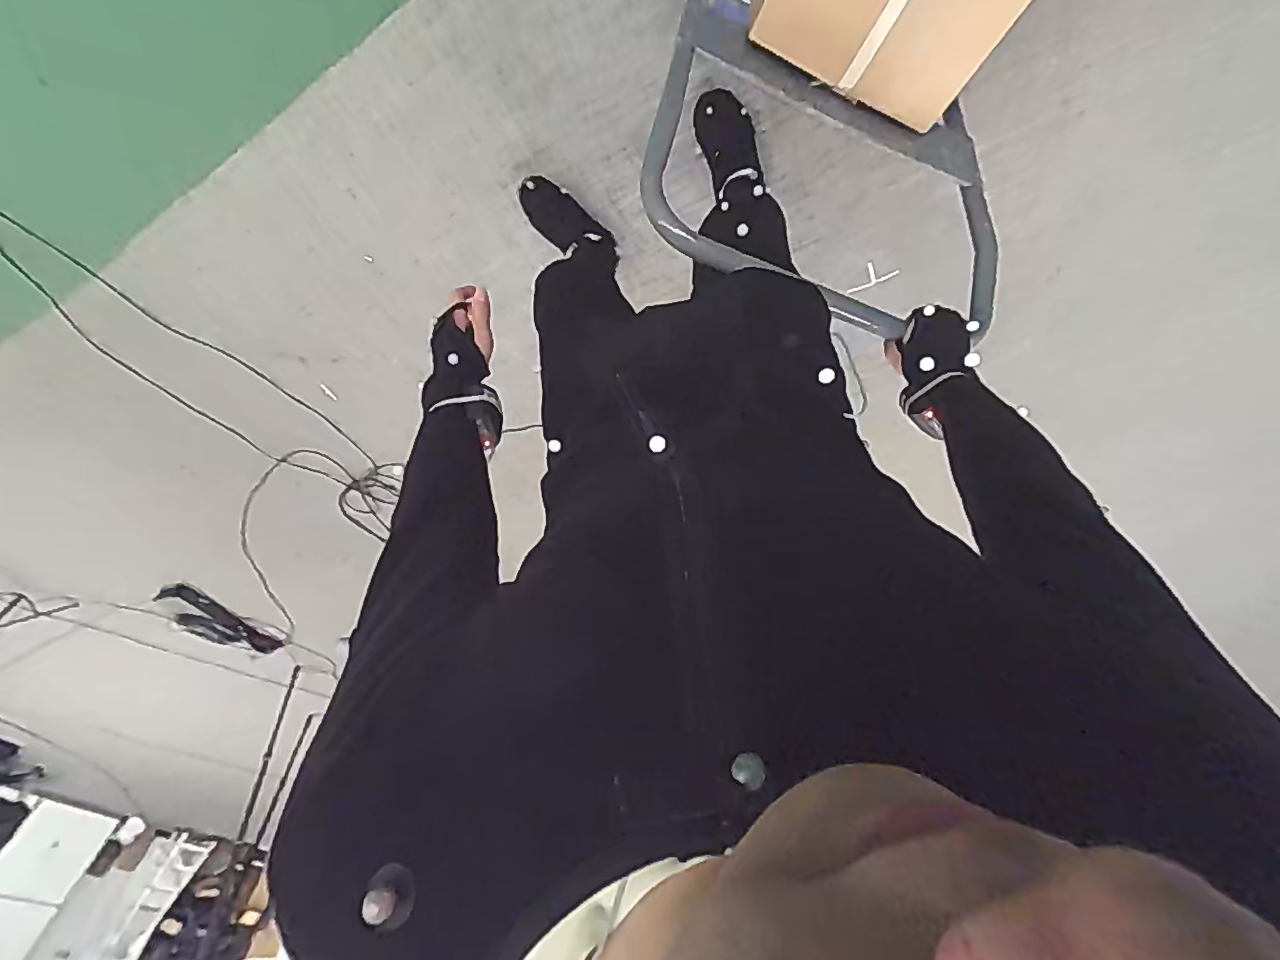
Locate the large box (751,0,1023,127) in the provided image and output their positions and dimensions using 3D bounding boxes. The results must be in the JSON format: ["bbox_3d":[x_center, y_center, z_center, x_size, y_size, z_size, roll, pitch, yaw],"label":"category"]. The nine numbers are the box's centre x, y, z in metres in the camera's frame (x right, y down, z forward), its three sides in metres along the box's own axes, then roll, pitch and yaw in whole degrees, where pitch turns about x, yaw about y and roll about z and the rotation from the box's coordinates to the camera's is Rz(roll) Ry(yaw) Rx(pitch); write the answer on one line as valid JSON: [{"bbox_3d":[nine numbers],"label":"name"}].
[{"bbox_3d":[0.382,-0.799,0.719,0.320,0.320,0.408,18,145,-13],"label":"large box"}]
